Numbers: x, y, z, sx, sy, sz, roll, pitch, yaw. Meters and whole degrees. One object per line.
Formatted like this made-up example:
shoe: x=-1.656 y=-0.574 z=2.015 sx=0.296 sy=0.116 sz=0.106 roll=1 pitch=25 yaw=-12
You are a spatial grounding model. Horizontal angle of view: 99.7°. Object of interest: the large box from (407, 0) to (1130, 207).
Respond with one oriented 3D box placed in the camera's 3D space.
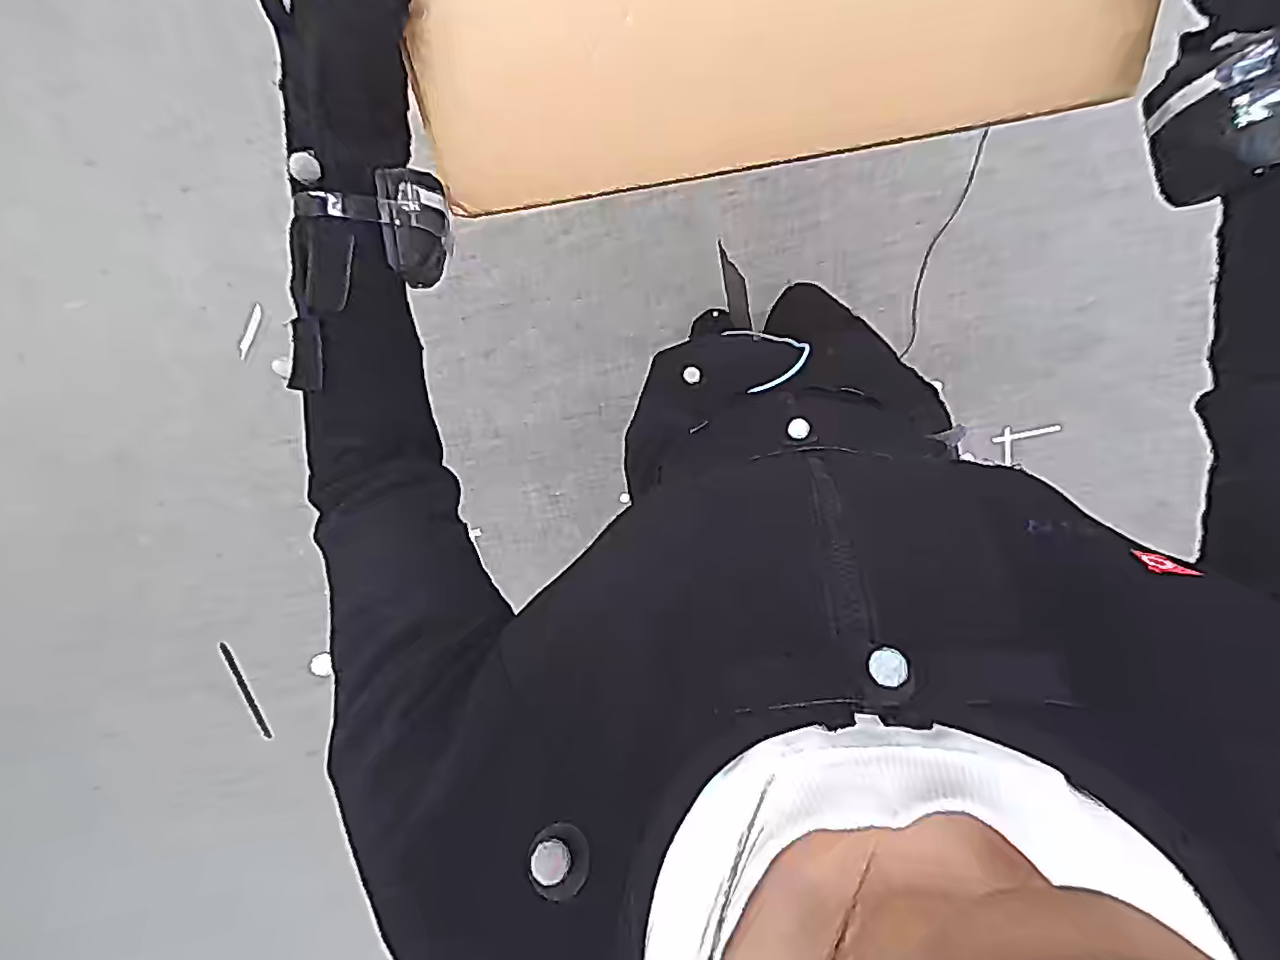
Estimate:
large box: x=0.061 y=-0.413 z=0.396 sx=0.408 sy=0.320 sz=0.320 roll=-6 pitch=120 yaw=9
